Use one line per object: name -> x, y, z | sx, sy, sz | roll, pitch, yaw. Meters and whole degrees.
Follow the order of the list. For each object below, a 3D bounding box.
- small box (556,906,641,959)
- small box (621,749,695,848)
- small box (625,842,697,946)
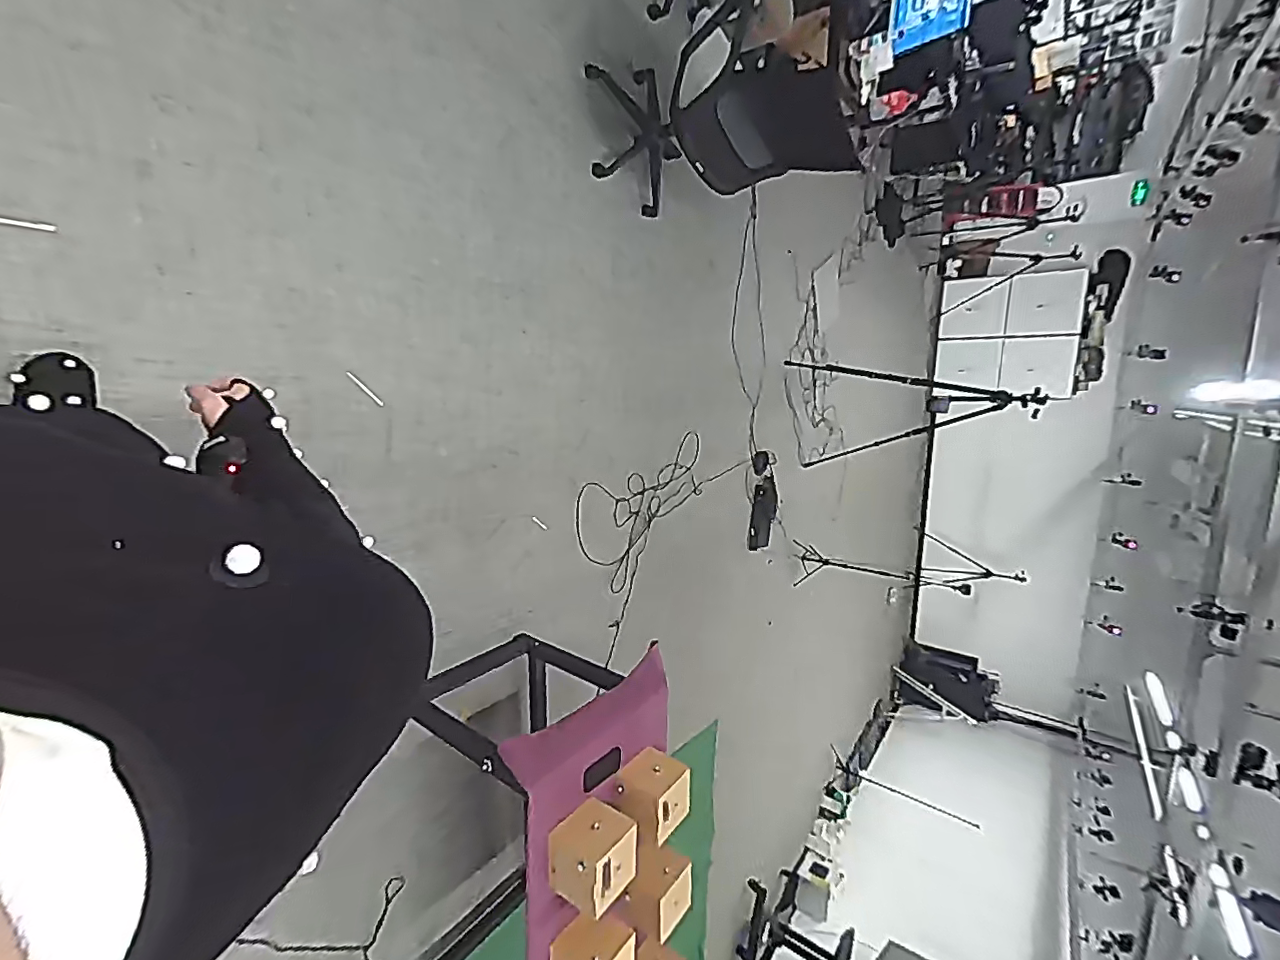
small box -> -0.117, 1.361, 1.517 | 0.179, 0.176, 0.168 | -10, 104, -53
small box -> 0.054, 0.977, 1.676 | 0.179, 0.176, 0.168 | -13, 107, -52
small box -> 0.069, 1.332, 1.760 | 0.179, 0.176, 0.168 | -12, 105, -51
